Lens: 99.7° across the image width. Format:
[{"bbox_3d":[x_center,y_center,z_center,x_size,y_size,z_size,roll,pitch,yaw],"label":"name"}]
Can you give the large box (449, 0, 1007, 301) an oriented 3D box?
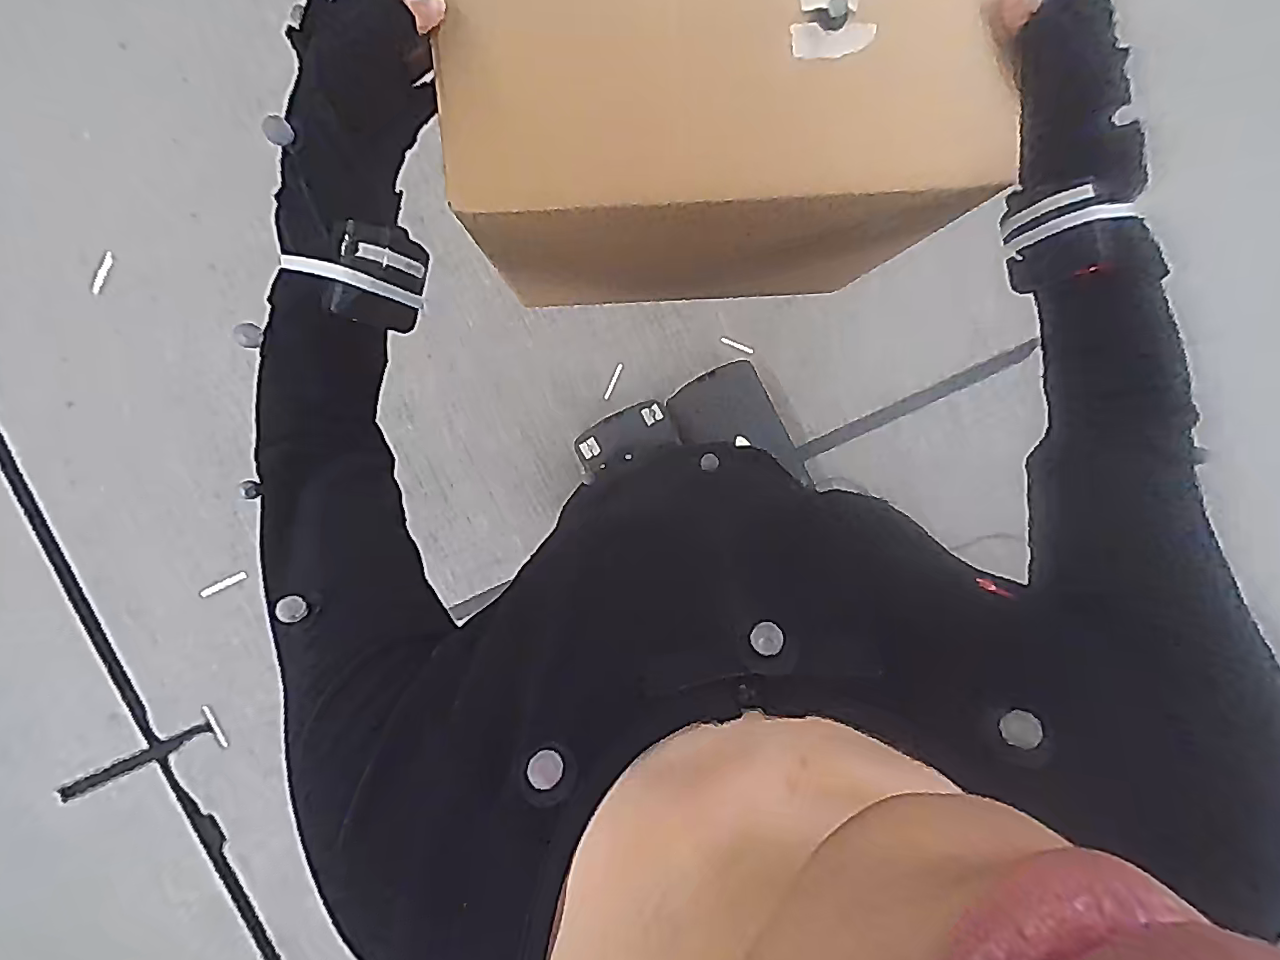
[{"bbox_3d":[0.053,-0.376,0.524,0.408,0.320,0.320,-4,97,-3],"label":"large box"}]
